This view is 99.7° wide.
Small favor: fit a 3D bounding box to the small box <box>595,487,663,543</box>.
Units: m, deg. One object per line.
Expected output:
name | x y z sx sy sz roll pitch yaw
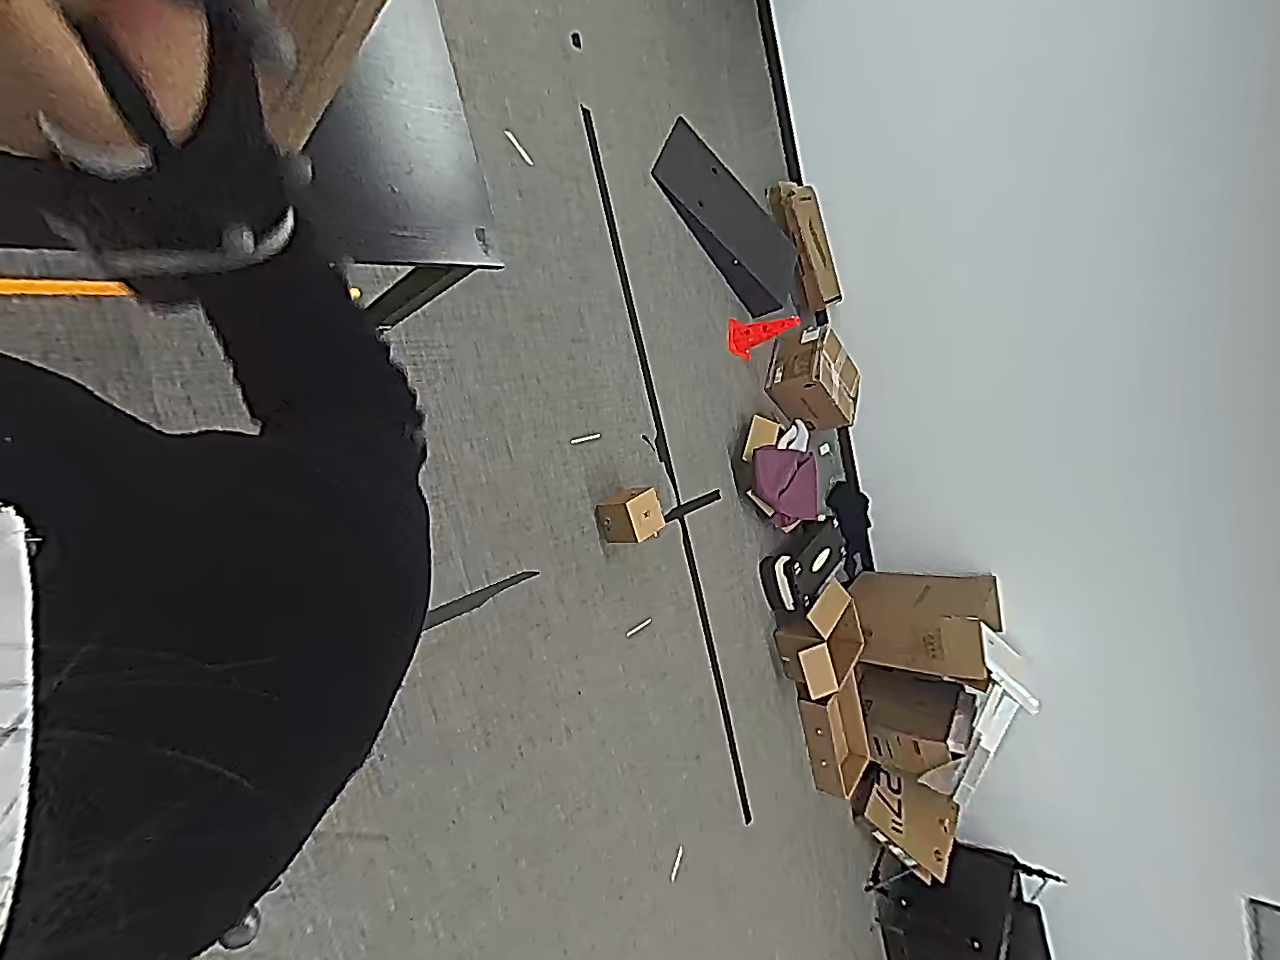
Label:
small box | -0.043 0.137 2.110 0.179 0.176 0.168 -29 106 -44
